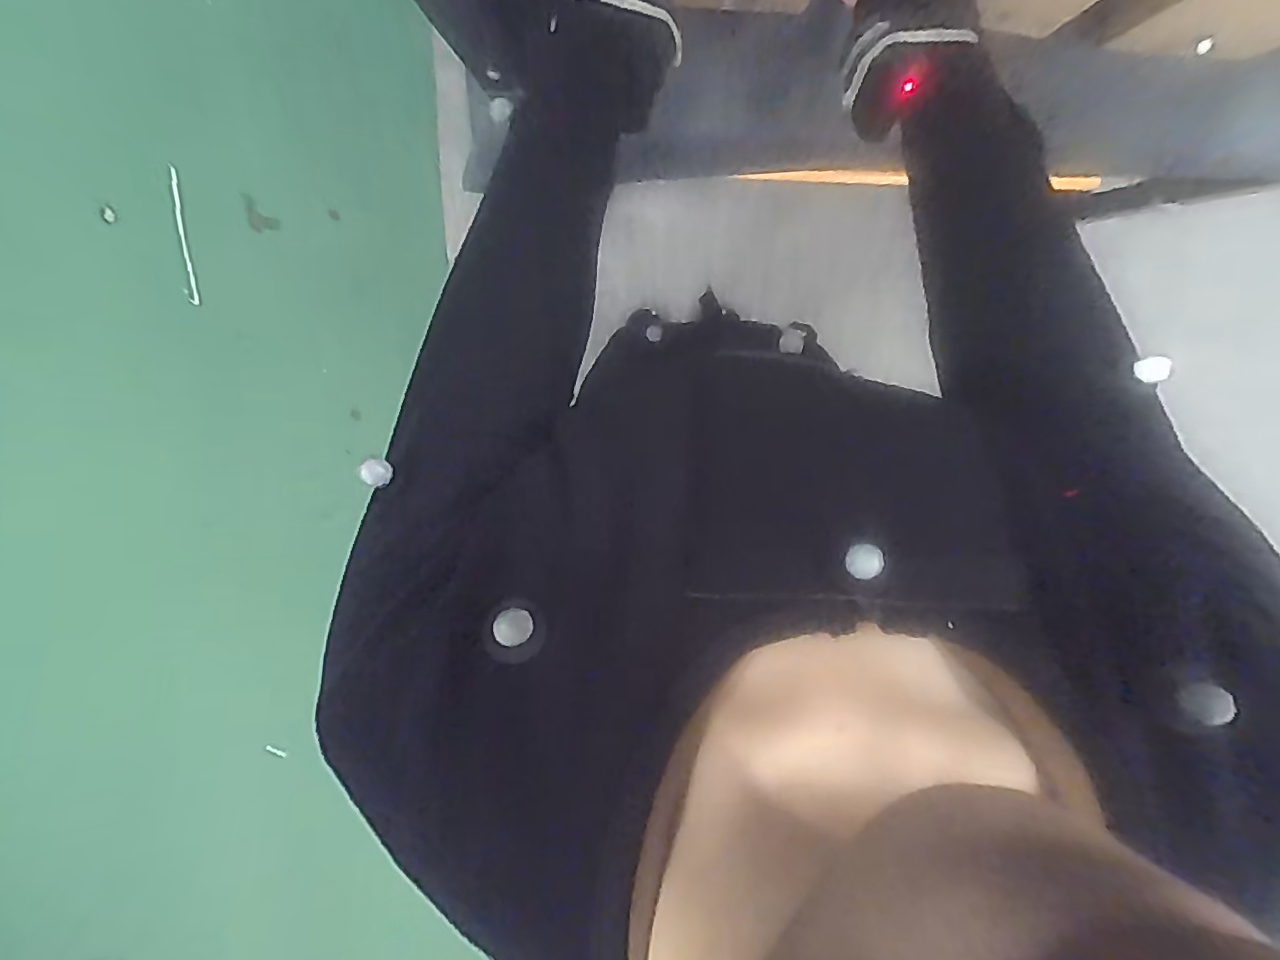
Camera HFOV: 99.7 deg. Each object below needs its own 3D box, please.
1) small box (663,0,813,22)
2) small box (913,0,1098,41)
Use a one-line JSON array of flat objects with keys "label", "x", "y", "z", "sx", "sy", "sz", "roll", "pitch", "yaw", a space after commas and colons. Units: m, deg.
[{"label": "small box", "x": 0.101, "y": -0.559, "z": 0.483, "sx": 0.168, "sy": 0.176, "sz": 0.179, "roll": 3, "pitch": 108, "yaw": 1}, {"label": "small box", "x": 0.370, "y": -0.541, "z": 0.486, "sx": 0.168, "sy": 0.176, "sz": 0.179, "roll": 9, "pitch": 107, "yaw": -1}]
